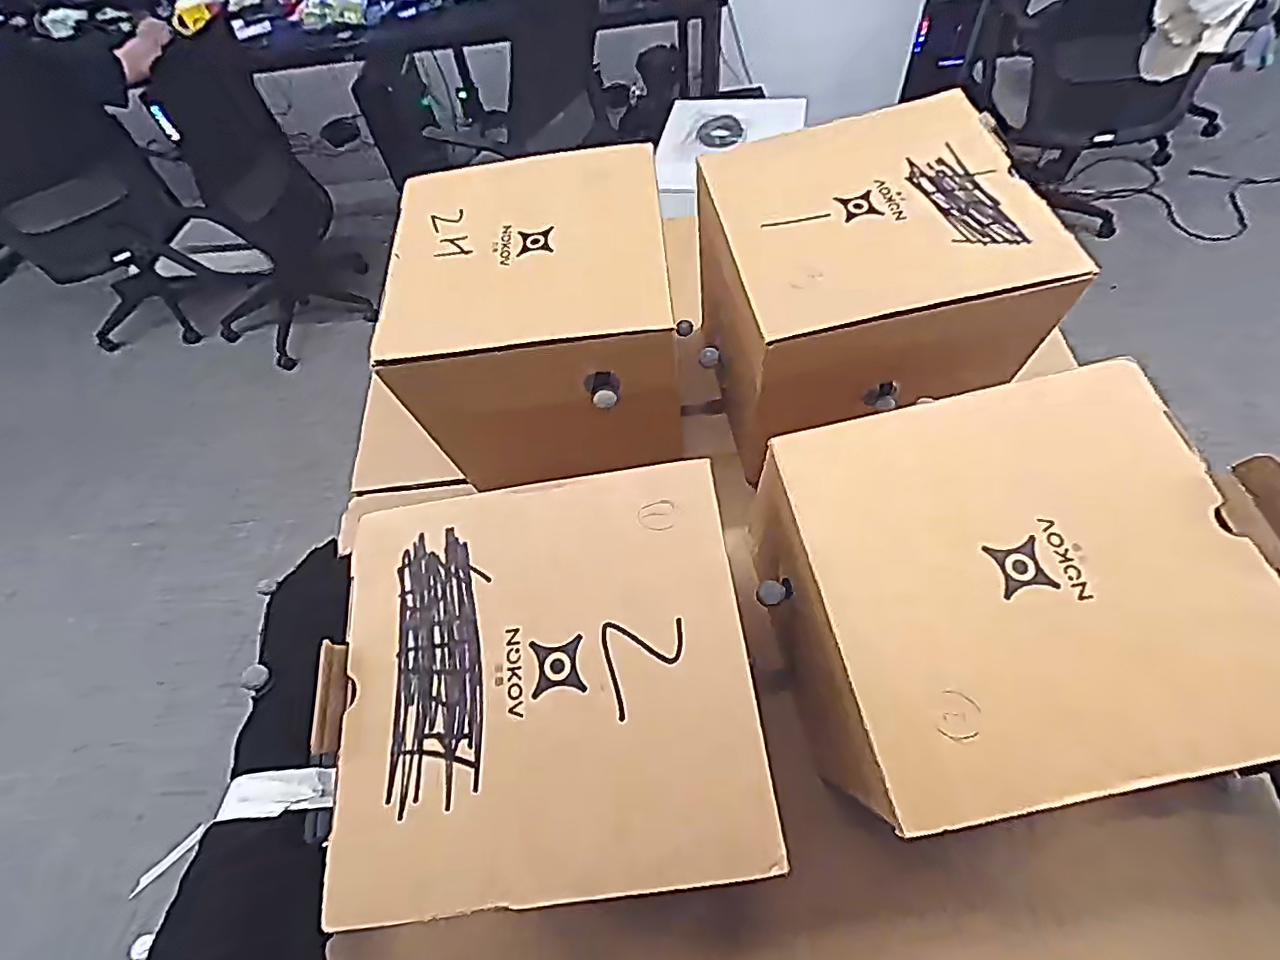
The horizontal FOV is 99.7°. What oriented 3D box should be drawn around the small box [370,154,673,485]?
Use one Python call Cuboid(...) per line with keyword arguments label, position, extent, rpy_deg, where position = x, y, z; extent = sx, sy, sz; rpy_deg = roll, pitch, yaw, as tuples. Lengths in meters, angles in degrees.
Cuboid(label="small box", position=(-0.067, -0.109, 0.415), extent=(0.179, 0.176, 0.168), rpy_deg=(-6, 62, 5))
